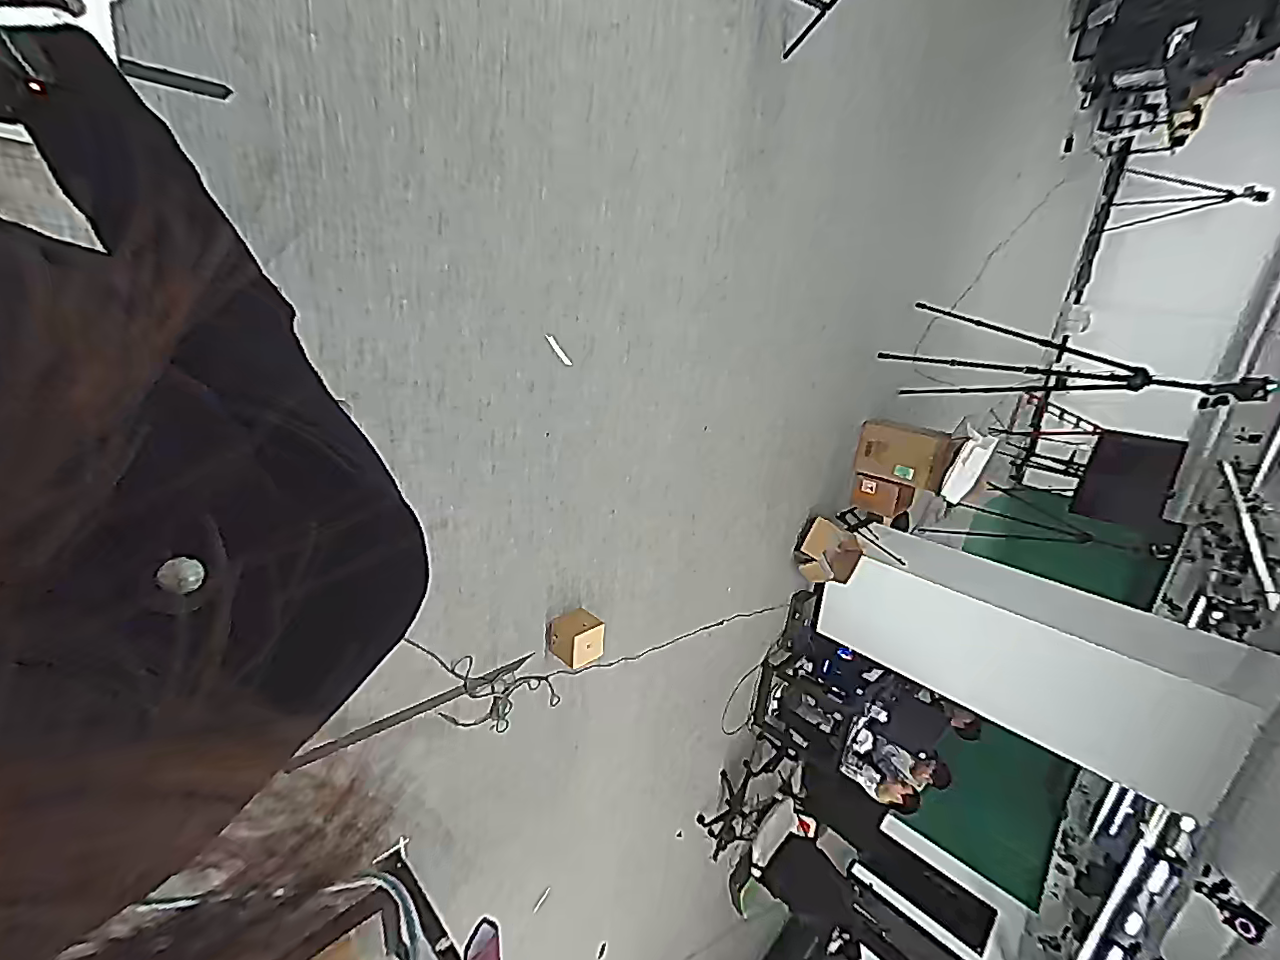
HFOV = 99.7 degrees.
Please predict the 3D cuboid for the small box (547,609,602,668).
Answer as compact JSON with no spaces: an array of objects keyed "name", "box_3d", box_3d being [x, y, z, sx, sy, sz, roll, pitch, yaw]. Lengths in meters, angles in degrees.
[{"name":"small box","box_3d":[-0.291,0.694,2.391,0.179,0.176,0.168,-12,114,-45]}]
